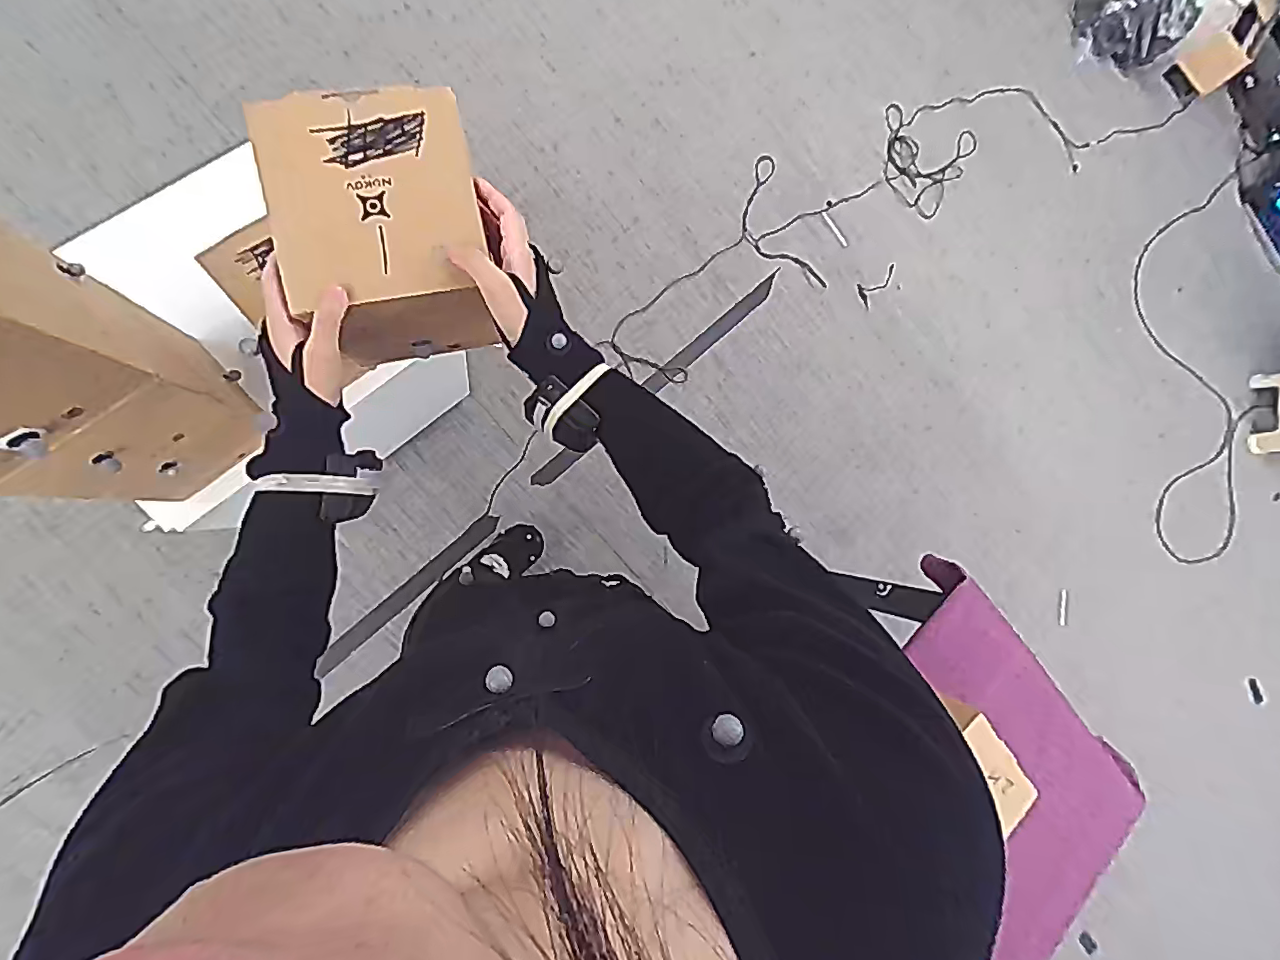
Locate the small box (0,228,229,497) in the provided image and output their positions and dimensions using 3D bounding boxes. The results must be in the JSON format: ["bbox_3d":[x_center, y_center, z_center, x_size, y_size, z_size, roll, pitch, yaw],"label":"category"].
[{"bbox_3d":[-0.568,-0.100,0.535,0.168,0.176,0.179,-43,98,-14],"label":"small box"}]

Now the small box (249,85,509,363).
[{"bbox_3d":[-0.228,-0.229,0.519,0.168,0.176,0.179,-12,90,-9],"label":"small box"}]

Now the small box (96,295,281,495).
[{"bbox_3d":[-0.615,-0.093,0.690,0.168,0.176,0.179,-42,97,-13],"label":"small box"}]

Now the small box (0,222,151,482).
[{"bbox_3d":[-0.523,-0.111,0.379,0.168,0.176,0.179,-43,99,-13],"label":"small box"}]
